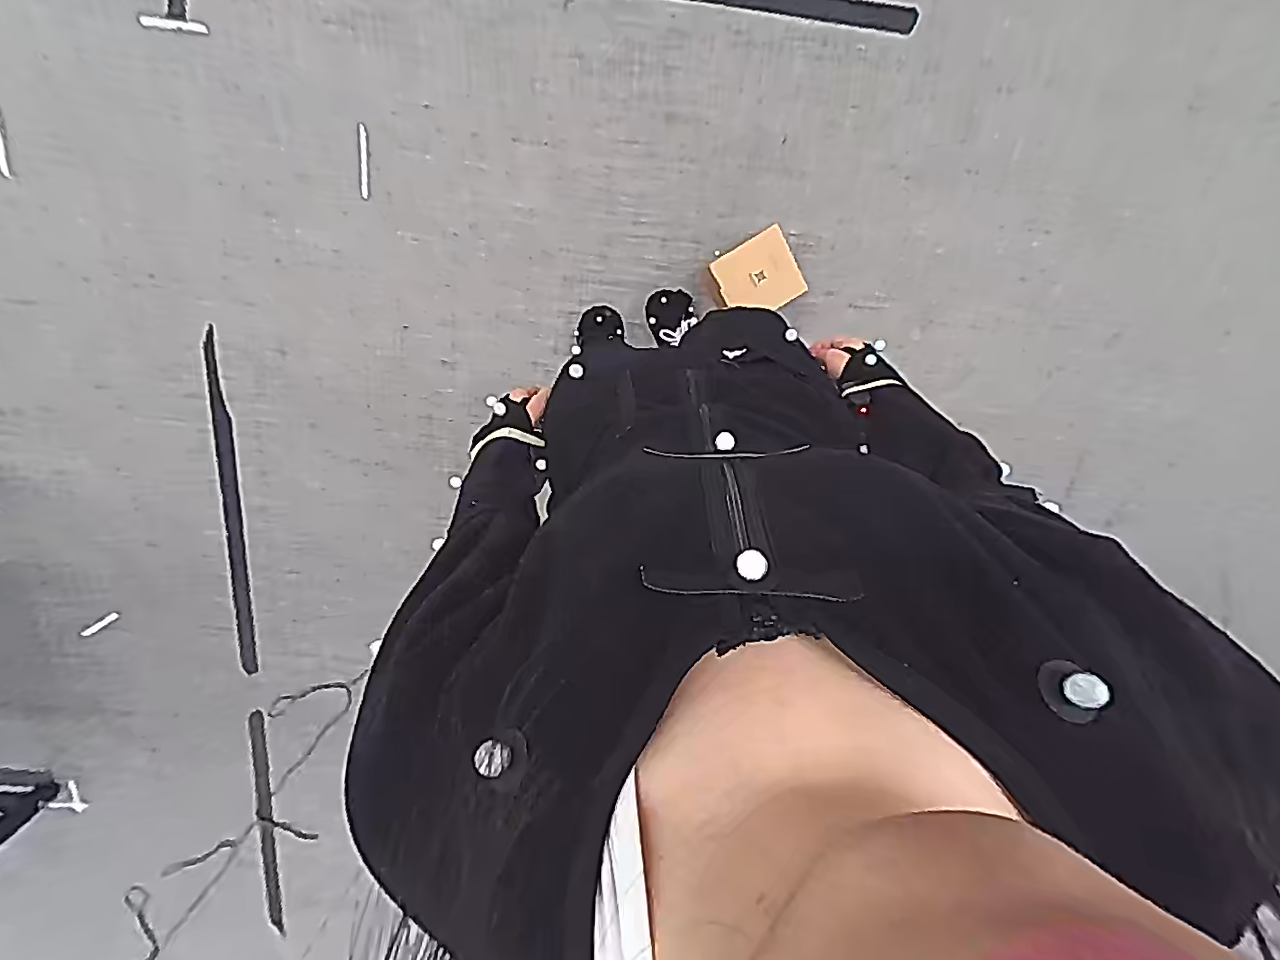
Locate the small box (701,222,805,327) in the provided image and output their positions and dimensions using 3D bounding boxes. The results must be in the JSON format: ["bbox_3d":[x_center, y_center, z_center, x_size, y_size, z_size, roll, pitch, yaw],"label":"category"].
[{"bbox_3d":[0.259,-0.484,1.292,0.179,0.176,0.168,-31,108,6],"label":"small box"}]
